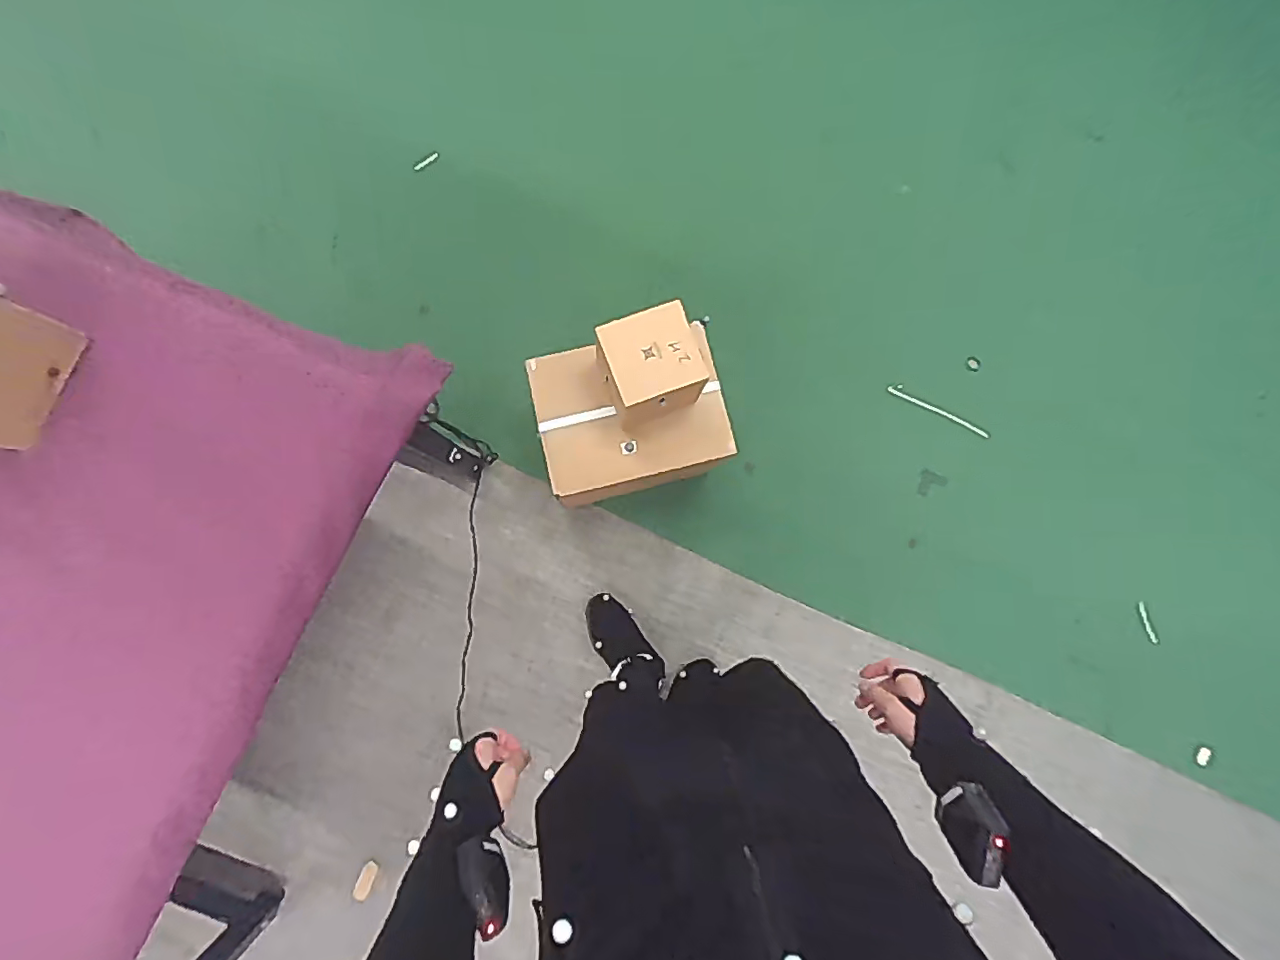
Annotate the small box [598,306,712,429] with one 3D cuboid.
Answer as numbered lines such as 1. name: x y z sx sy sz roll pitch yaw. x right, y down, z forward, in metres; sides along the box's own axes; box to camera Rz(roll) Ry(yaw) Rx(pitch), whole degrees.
1. small box: 0.025 -0.218 1.095 0.179 0.176 0.168 -20 83 -6

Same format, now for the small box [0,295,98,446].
1. small box: -0.803 -0.150 0.612 0.179 0.176 0.168 23 84 -1
